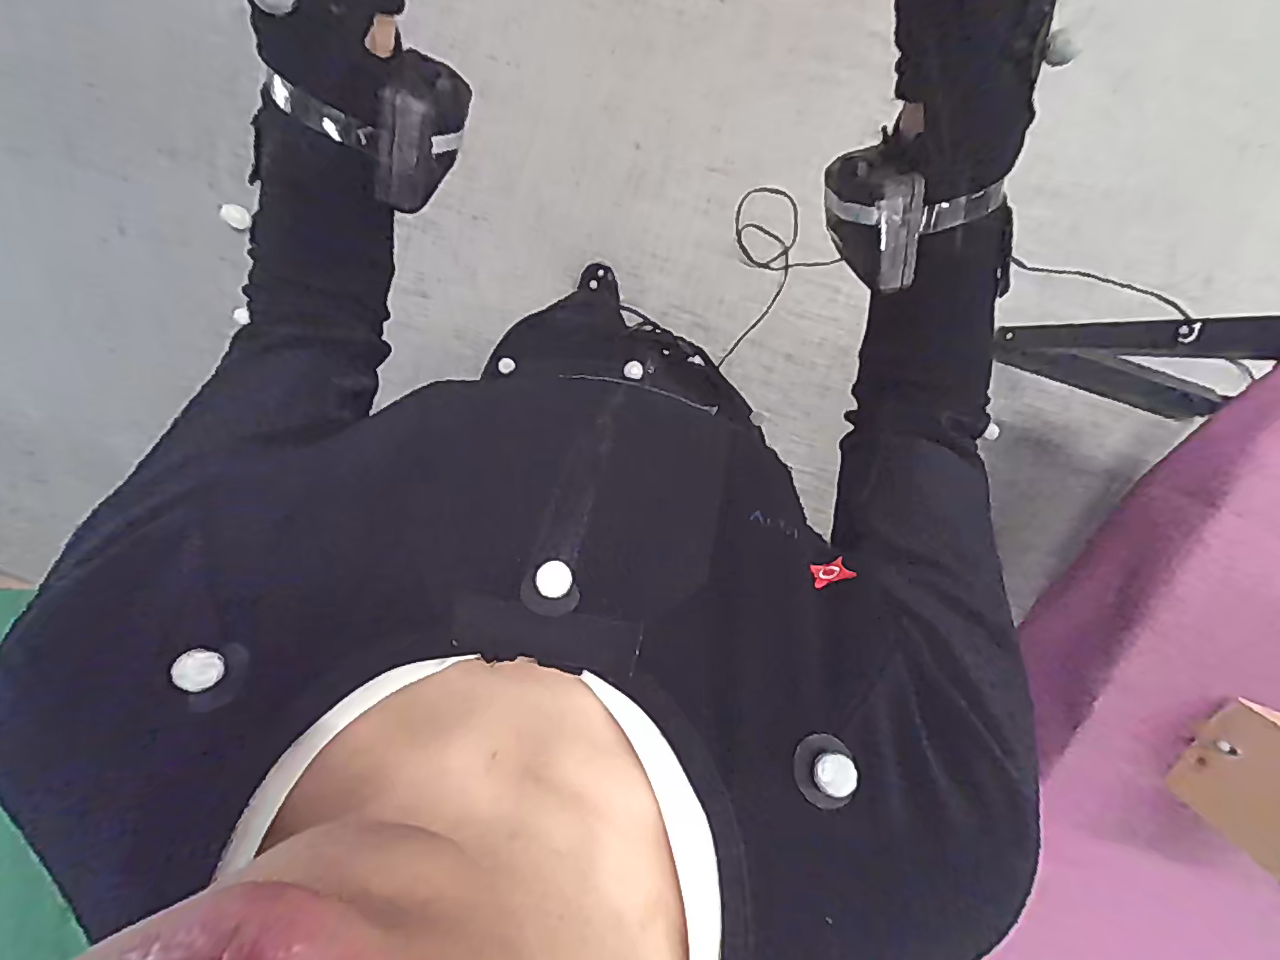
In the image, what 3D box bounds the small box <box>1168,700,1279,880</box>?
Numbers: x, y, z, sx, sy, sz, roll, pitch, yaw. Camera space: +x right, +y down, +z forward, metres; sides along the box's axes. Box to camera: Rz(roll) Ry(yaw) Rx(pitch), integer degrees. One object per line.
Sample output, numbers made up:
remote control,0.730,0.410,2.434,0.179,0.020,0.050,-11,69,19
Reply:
small box,0.883,0.424,0.710,0.179,0.176,0.168,22,103,-2
